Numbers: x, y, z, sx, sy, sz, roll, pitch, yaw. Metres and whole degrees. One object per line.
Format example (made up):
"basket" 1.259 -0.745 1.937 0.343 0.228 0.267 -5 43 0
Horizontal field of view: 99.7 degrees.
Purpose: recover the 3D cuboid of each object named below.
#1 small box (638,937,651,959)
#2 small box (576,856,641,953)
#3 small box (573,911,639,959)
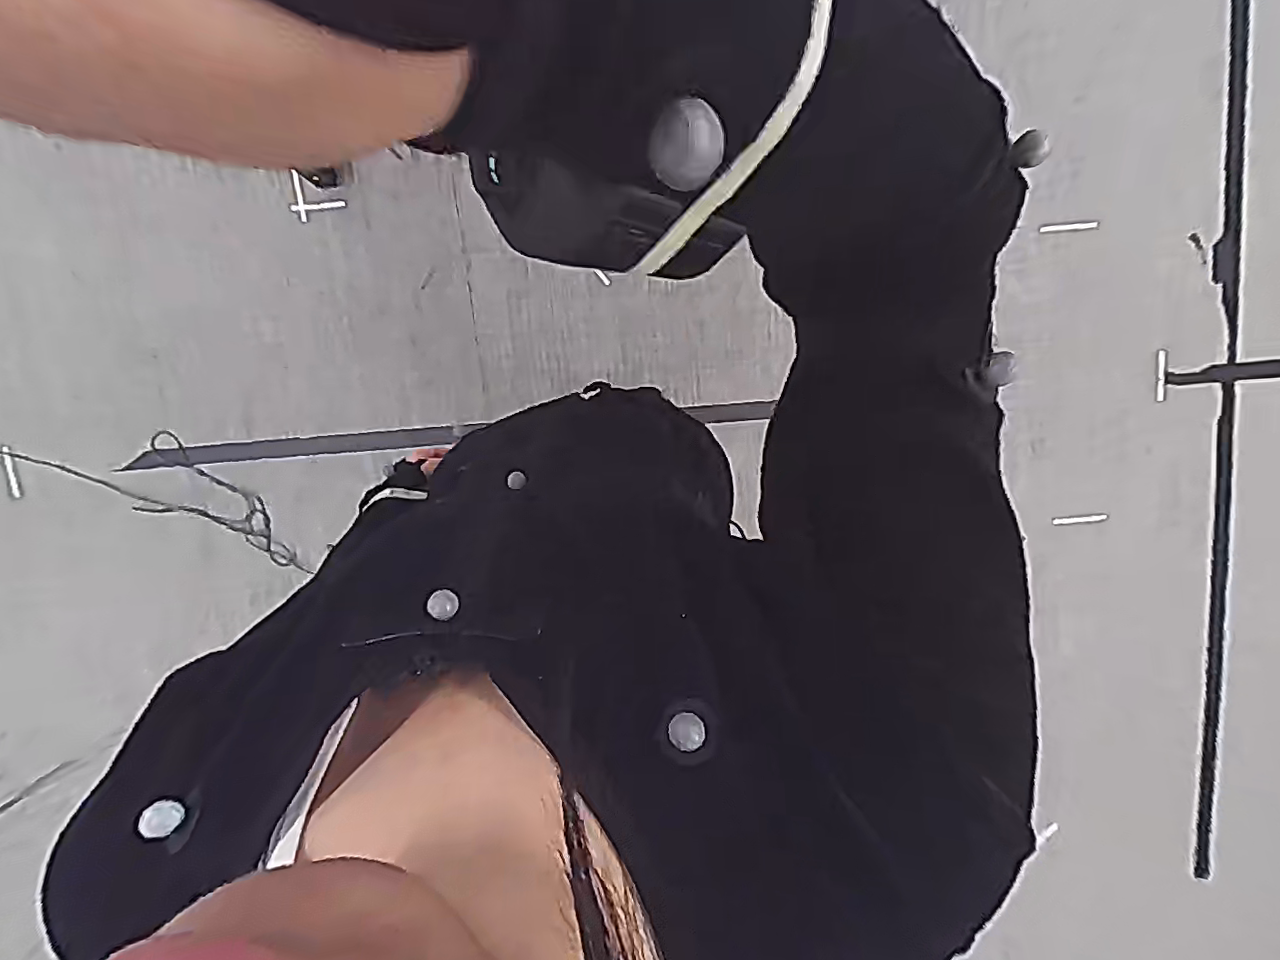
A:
"small box" -0.046 1.502 1.603 0.168 0.176 0.179 -12 98 0
"small box" -0.090 1.227 1.564 0.168 0.176 0.179 -7 99 -1
"small box" -0.086 1.262 1.403 0.168 0.176 0.179 -4 99 -1
